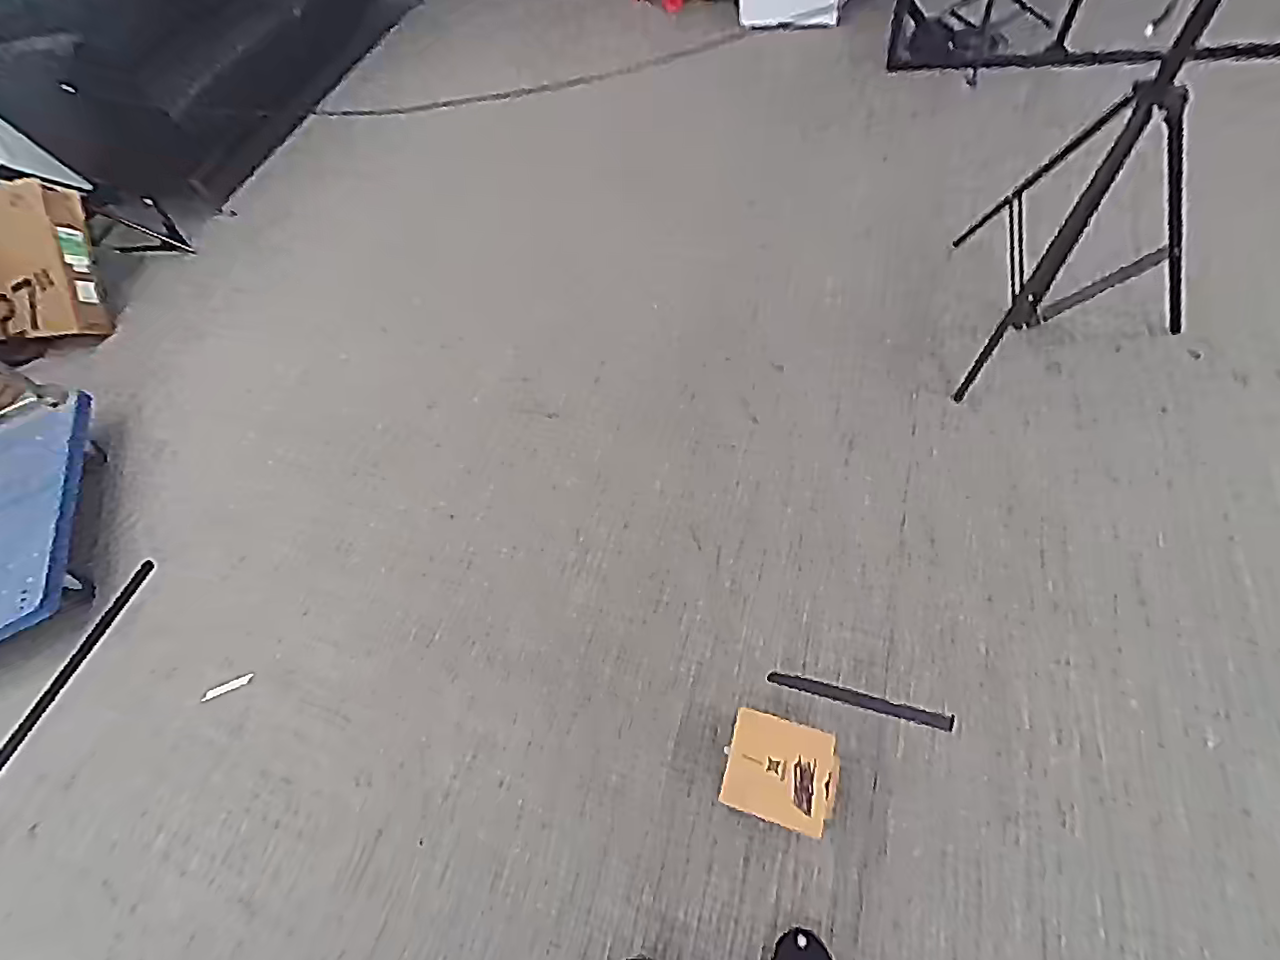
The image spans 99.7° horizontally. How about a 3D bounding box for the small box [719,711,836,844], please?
[{"bbox_3d":[0.258,0.555,1.021,0.179,0.176,0.168,11,63,19],"label":"small box"}]
